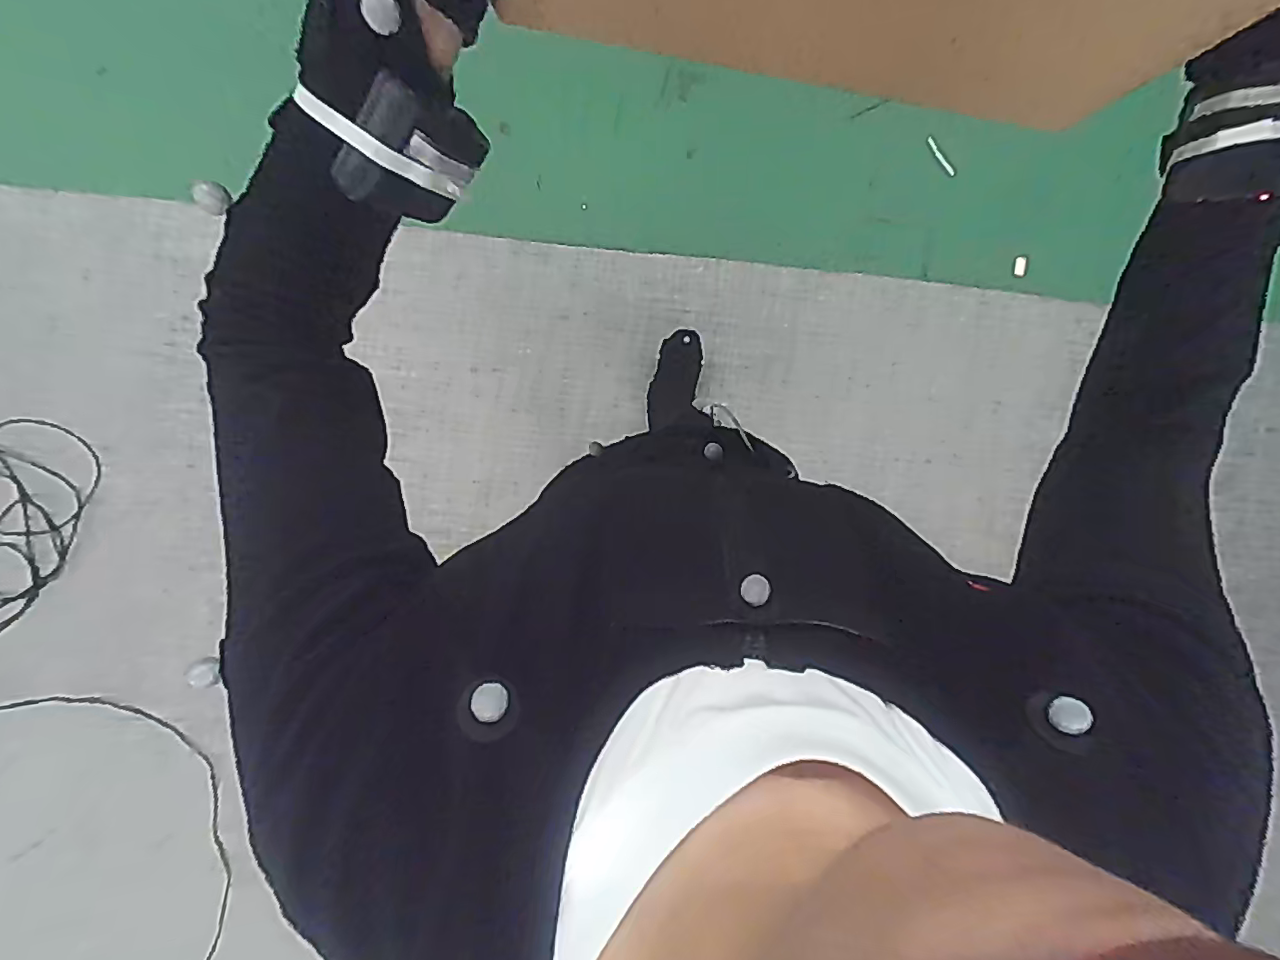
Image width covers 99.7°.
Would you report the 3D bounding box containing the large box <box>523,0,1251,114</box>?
[{"bbox_3d":[0.158,-0.401,0.194,0.408,0.320,0.320,-2,94,-17],"label":"large box"}]
